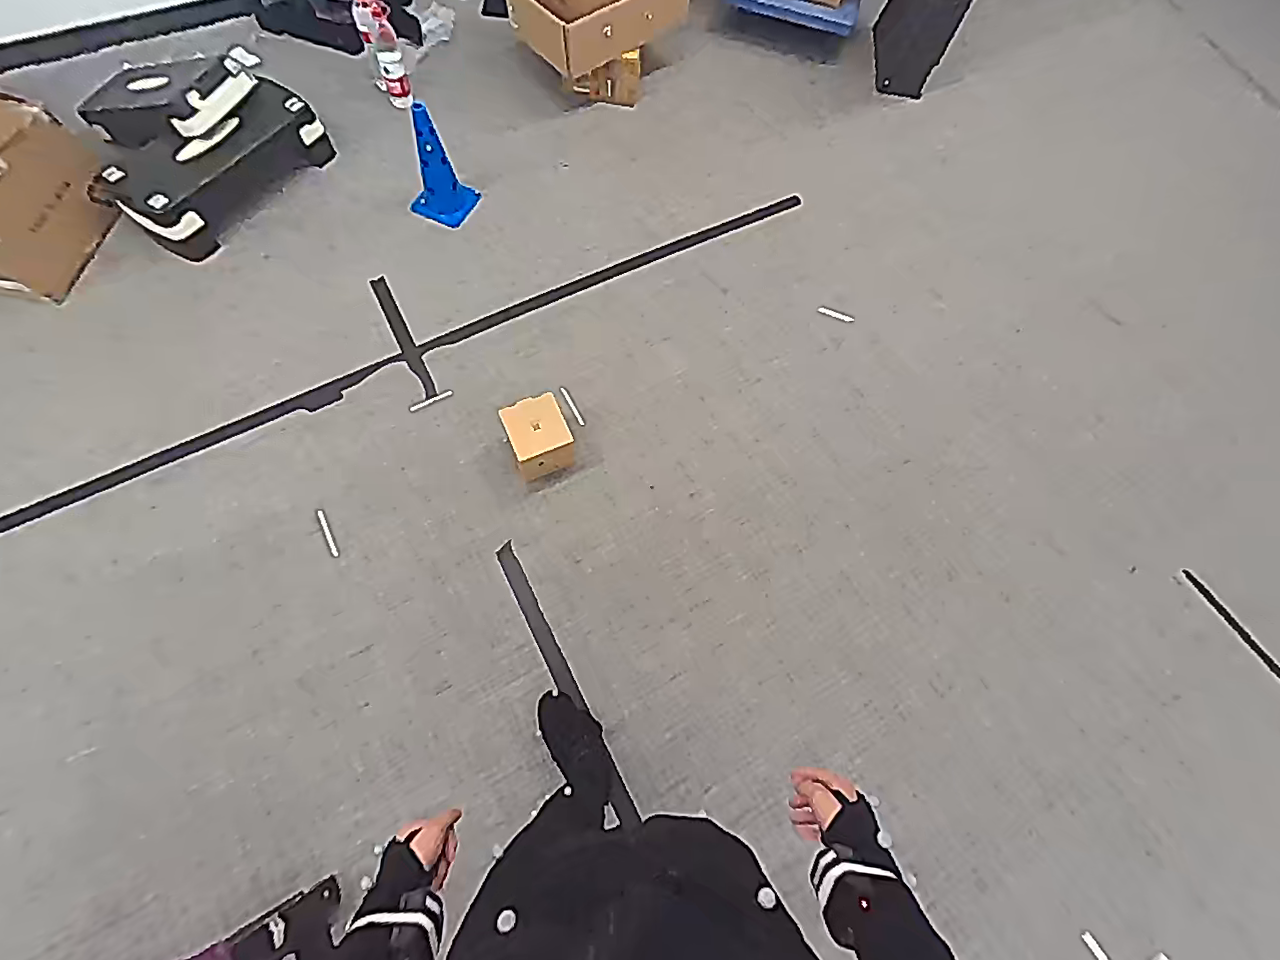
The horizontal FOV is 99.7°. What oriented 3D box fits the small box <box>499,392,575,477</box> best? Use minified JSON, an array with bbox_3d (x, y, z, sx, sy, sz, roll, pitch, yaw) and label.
[{"bbox_3d":[-0.299,-0.127,1.603,0.168,0.176,0.179,-22,72,-13],"label":"small box"}]
